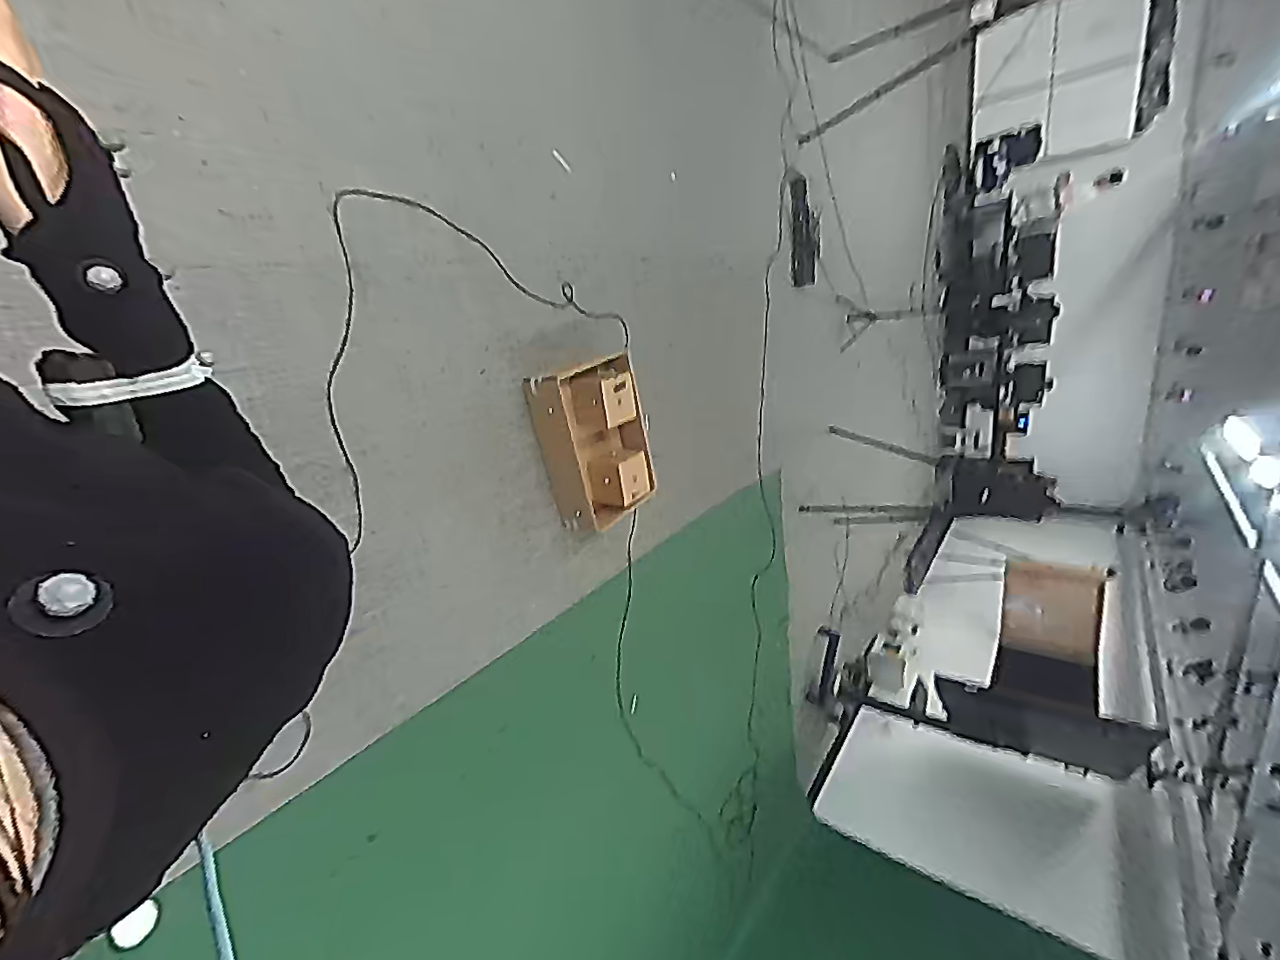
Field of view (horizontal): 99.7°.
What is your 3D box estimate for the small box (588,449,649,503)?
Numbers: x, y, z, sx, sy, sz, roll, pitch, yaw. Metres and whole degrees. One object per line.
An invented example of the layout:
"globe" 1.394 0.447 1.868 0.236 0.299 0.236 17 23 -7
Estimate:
"small box" -0.089 -0.020 2.174 0.168 0.176 0.179 -30 117 -45
